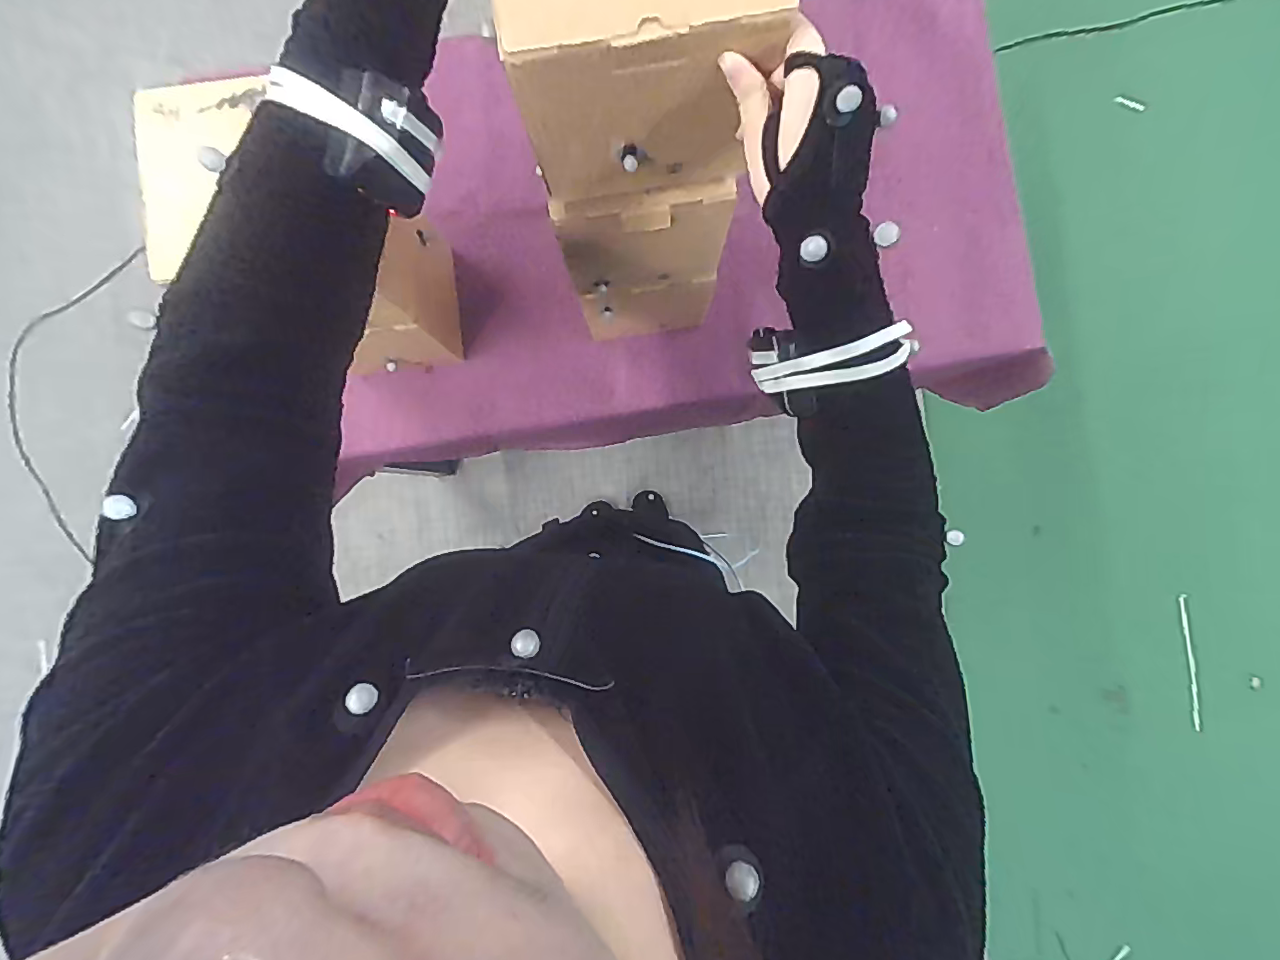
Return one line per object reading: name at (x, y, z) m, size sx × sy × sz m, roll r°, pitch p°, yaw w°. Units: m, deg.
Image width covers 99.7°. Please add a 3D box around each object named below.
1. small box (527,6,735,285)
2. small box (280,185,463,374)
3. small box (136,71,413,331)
small box at (-0.006, -0.316, 0.551) m, size 0.168 × 0.176 × 0.179 m, roll -9°, pitch 87°, yaw 0°
small box at (-0.348, -0.252, 0.716) m, size 0.168 × 0.176 × 0.179 m, roll -7°, pitch 88°, yaw 0°
small box at (-0.350, -0.261, 0.551) m, size 0.168 × 0.176 × 0.179 m, roll -7°, pitch 88°, yaw -1°
